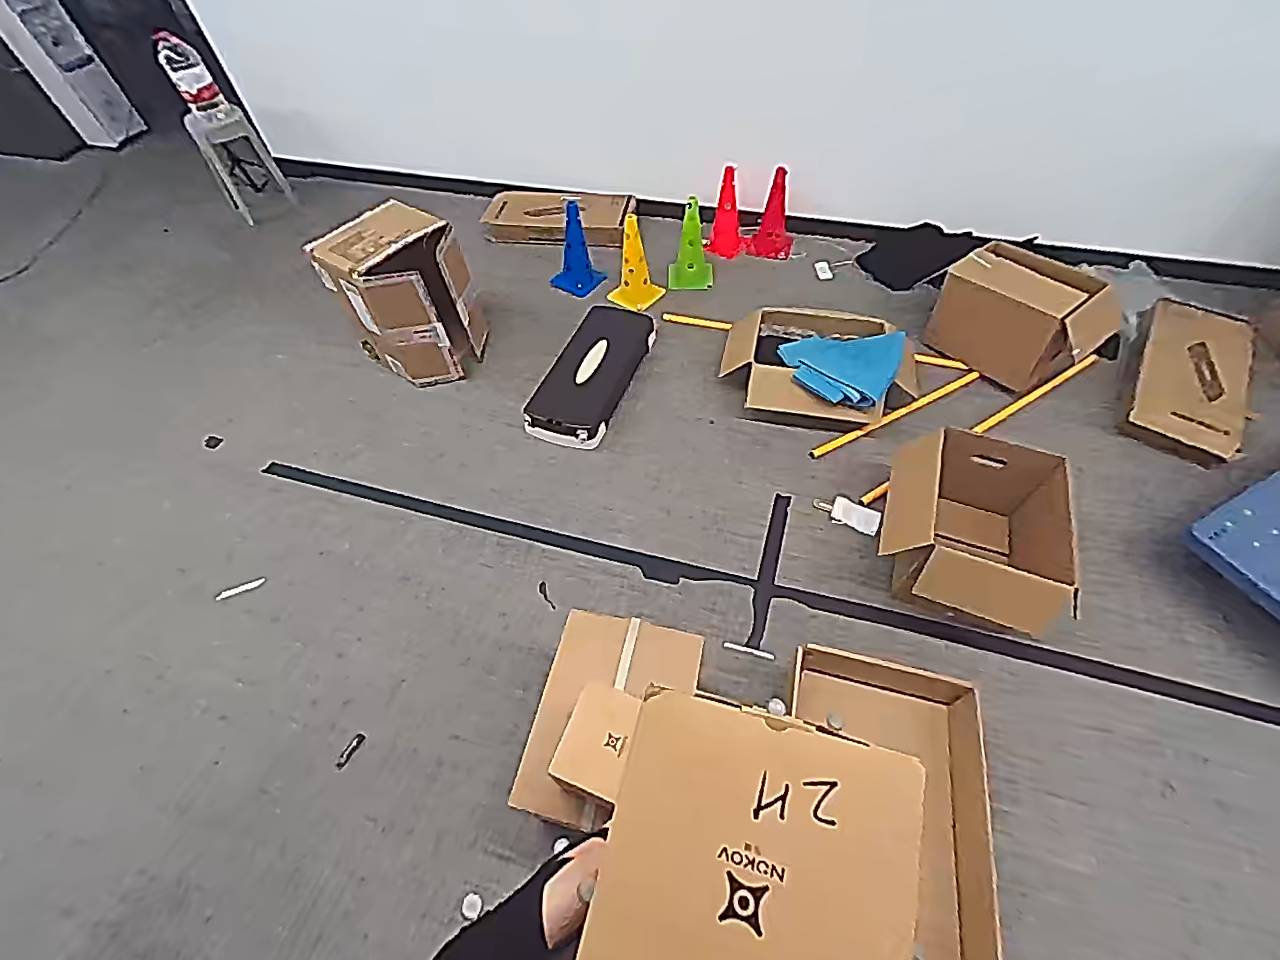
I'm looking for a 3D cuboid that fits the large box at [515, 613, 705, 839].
[{"bbox_3d":[-0.041,0.565,1.216,0.320,0.320,0.408,9,56,10],"label":"large box"}]

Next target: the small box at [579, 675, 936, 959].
[{"bbox_3d":[0.078,0.249,0.359,0.168,0.176,0.179,11,67,16],"label":"small box"}]
